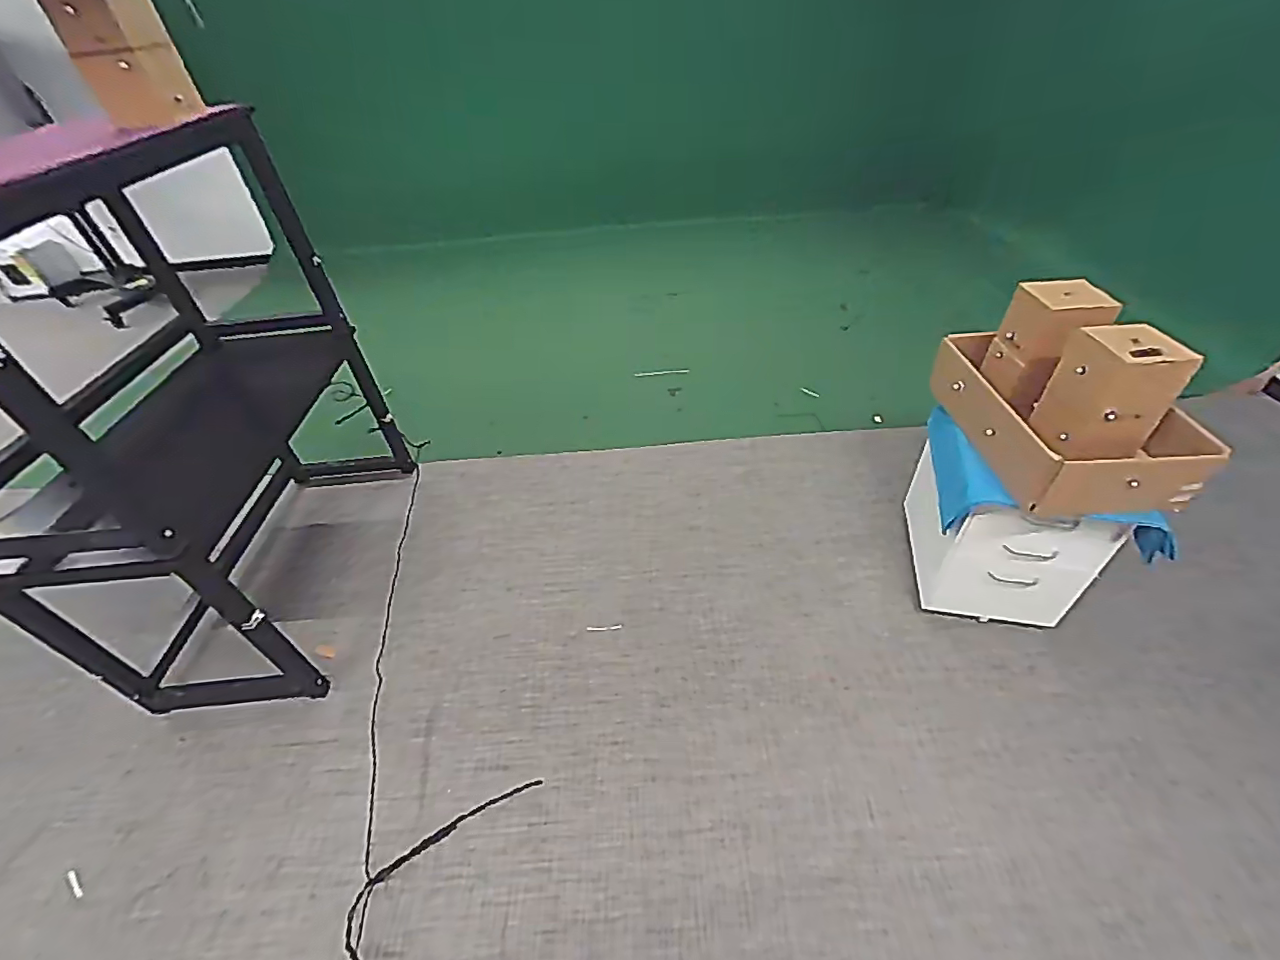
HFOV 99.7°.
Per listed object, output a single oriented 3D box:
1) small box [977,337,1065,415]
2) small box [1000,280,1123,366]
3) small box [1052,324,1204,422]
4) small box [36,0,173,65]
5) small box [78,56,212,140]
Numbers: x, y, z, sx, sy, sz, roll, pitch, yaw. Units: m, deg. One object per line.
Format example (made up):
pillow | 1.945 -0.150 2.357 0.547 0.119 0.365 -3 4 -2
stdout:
small box | 1.131 -0.304 1.576 0.179 0.176 0.168 -2 42 1
small box | 1.129 -0.424 1.467 0.179 0.176 0.168 -3 43 1
small box | 1.128 -0.247 1.269 0.168 0.176 0.179 -3 41 1
small box | -1.362 -1.175 1.381 0.168 0.176 0.179 -4 43 1
small box | -1.357 -1.057 1.497 0.179 0.176 0.168 -4 42 1
